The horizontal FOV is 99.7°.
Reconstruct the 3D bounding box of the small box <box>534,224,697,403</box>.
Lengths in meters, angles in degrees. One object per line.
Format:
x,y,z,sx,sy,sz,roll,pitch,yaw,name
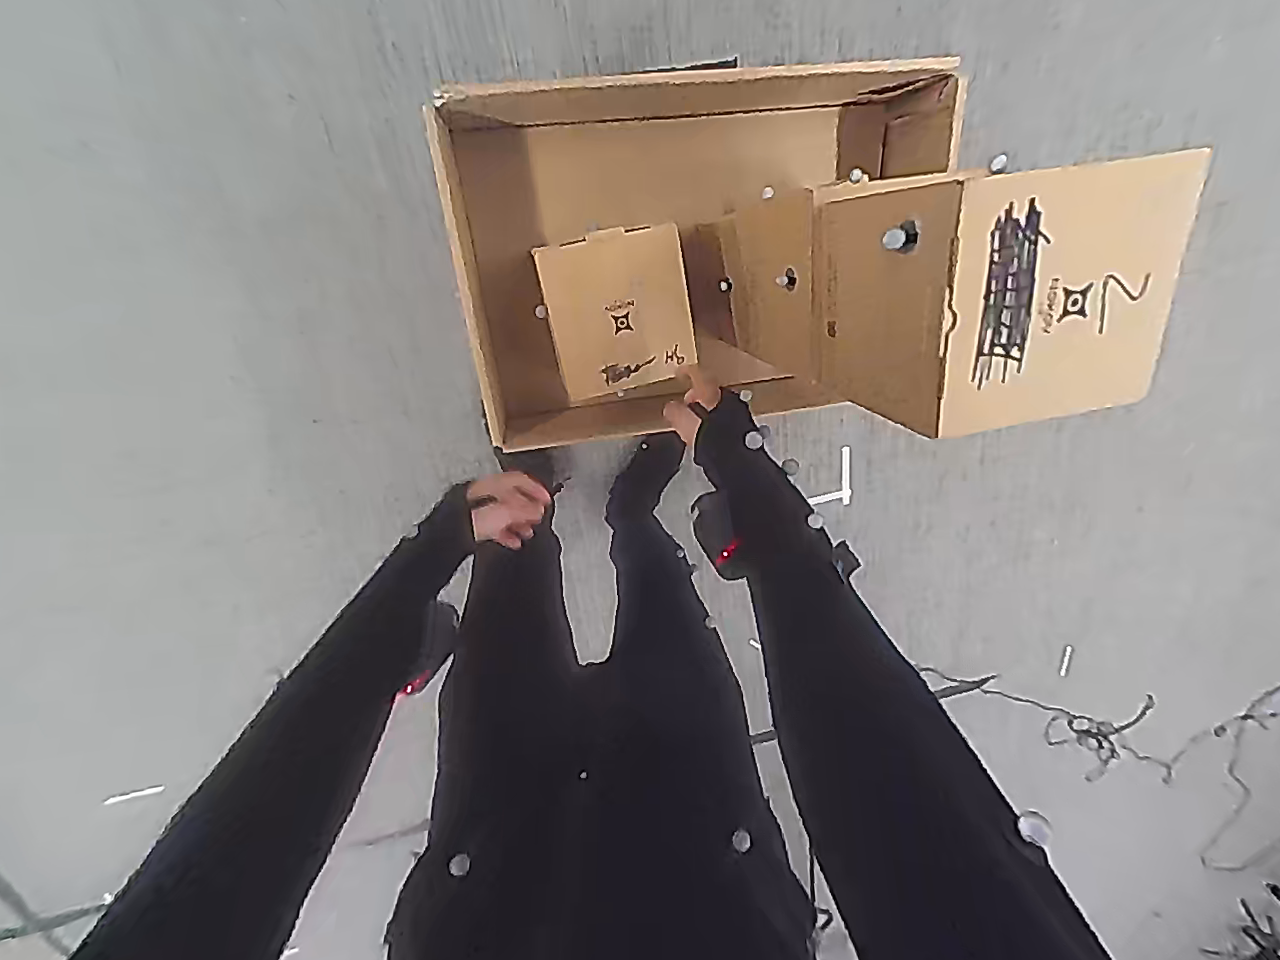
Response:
-0.038,-0.217,0.700,0.168,0.176,0.179,-14,114,-5,small box

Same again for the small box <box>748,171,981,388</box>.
0.220,-0.212,0.577,0.168,0.176,0.179,-10,114,-6,small box
